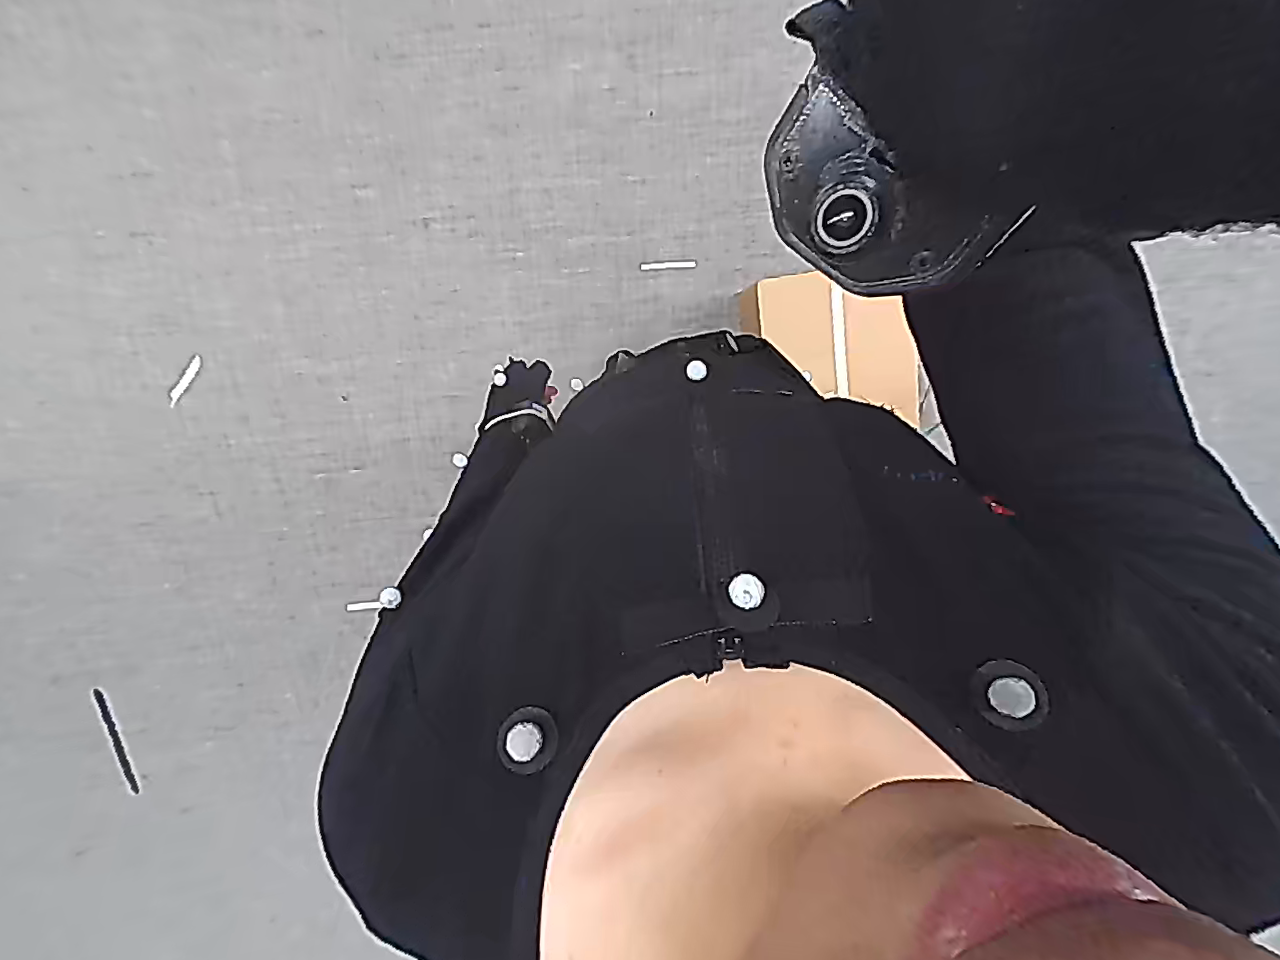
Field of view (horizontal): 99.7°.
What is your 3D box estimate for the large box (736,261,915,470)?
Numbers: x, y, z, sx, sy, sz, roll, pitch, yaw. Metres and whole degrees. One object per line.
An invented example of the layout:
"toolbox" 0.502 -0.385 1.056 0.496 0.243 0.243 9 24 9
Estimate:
"large box" 0.426 -0.273 1.291 0.320 0.320 0.408 -8 106 5
